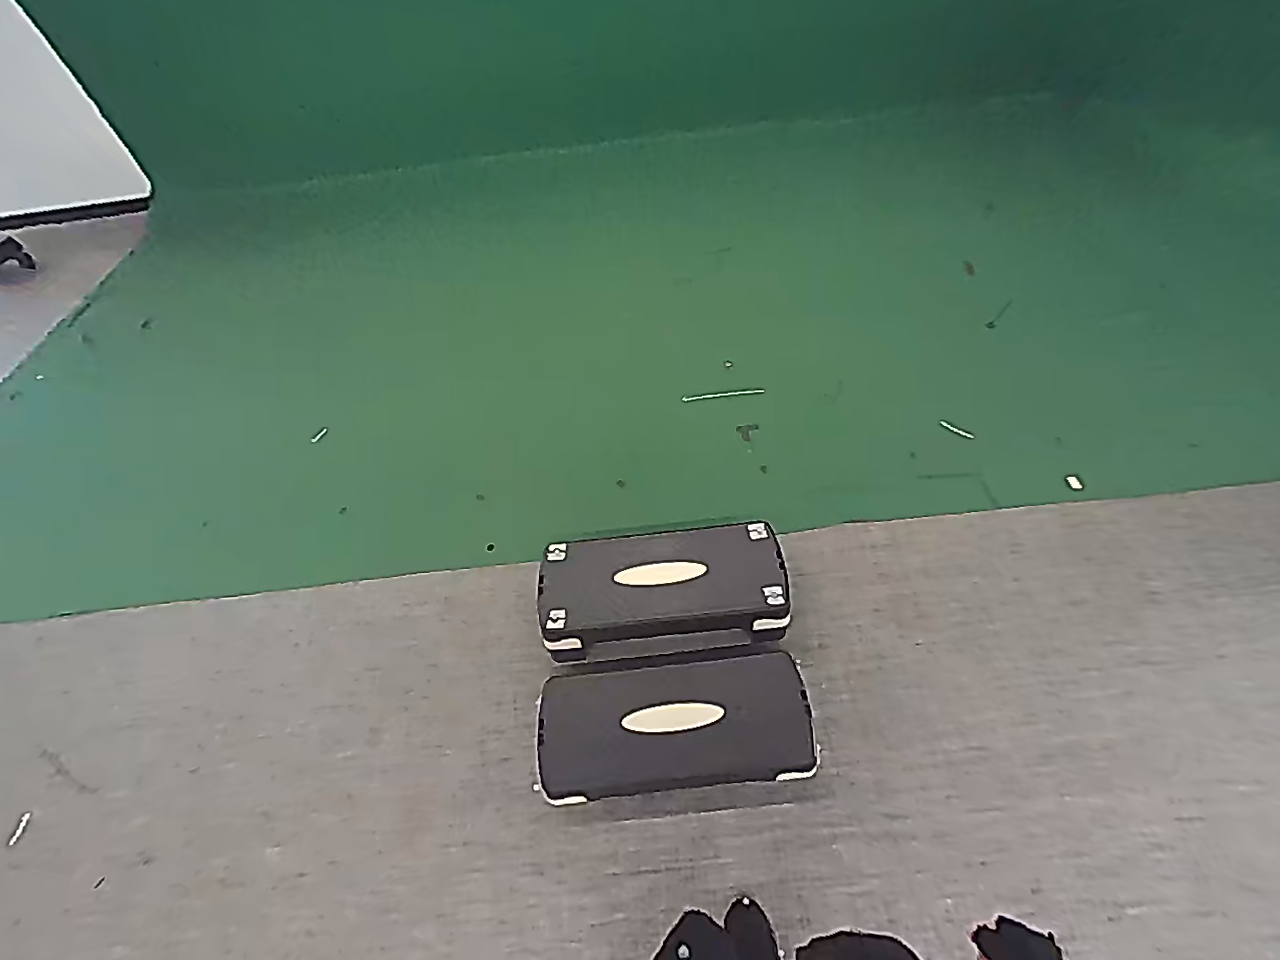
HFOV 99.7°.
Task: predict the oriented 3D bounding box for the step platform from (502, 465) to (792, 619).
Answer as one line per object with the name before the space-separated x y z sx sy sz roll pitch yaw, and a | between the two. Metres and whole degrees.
step platform | 0.016 0.159 1.361 0.684 0.204 0.286 -7 52 2
